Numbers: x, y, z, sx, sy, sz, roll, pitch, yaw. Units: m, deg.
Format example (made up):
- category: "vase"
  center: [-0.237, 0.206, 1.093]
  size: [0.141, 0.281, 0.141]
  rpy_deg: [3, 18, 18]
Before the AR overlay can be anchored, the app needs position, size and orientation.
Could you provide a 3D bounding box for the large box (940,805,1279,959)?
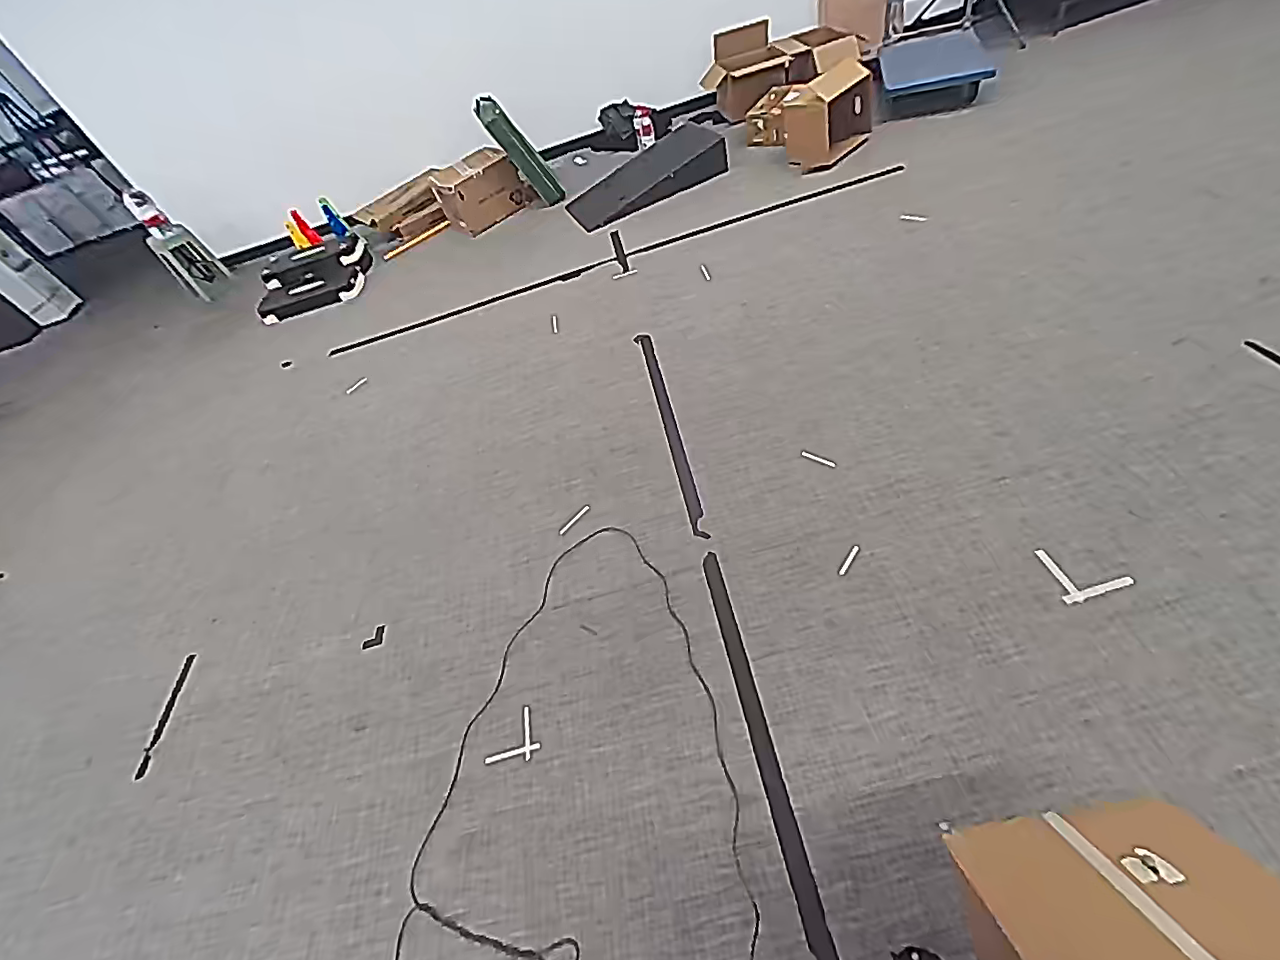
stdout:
- category: "large box"
  center: [0.618, 0.650, 0.601]
  size: [0.320, 0.408, 0.320]
  rpy_deg: [-14, 85, 6]
